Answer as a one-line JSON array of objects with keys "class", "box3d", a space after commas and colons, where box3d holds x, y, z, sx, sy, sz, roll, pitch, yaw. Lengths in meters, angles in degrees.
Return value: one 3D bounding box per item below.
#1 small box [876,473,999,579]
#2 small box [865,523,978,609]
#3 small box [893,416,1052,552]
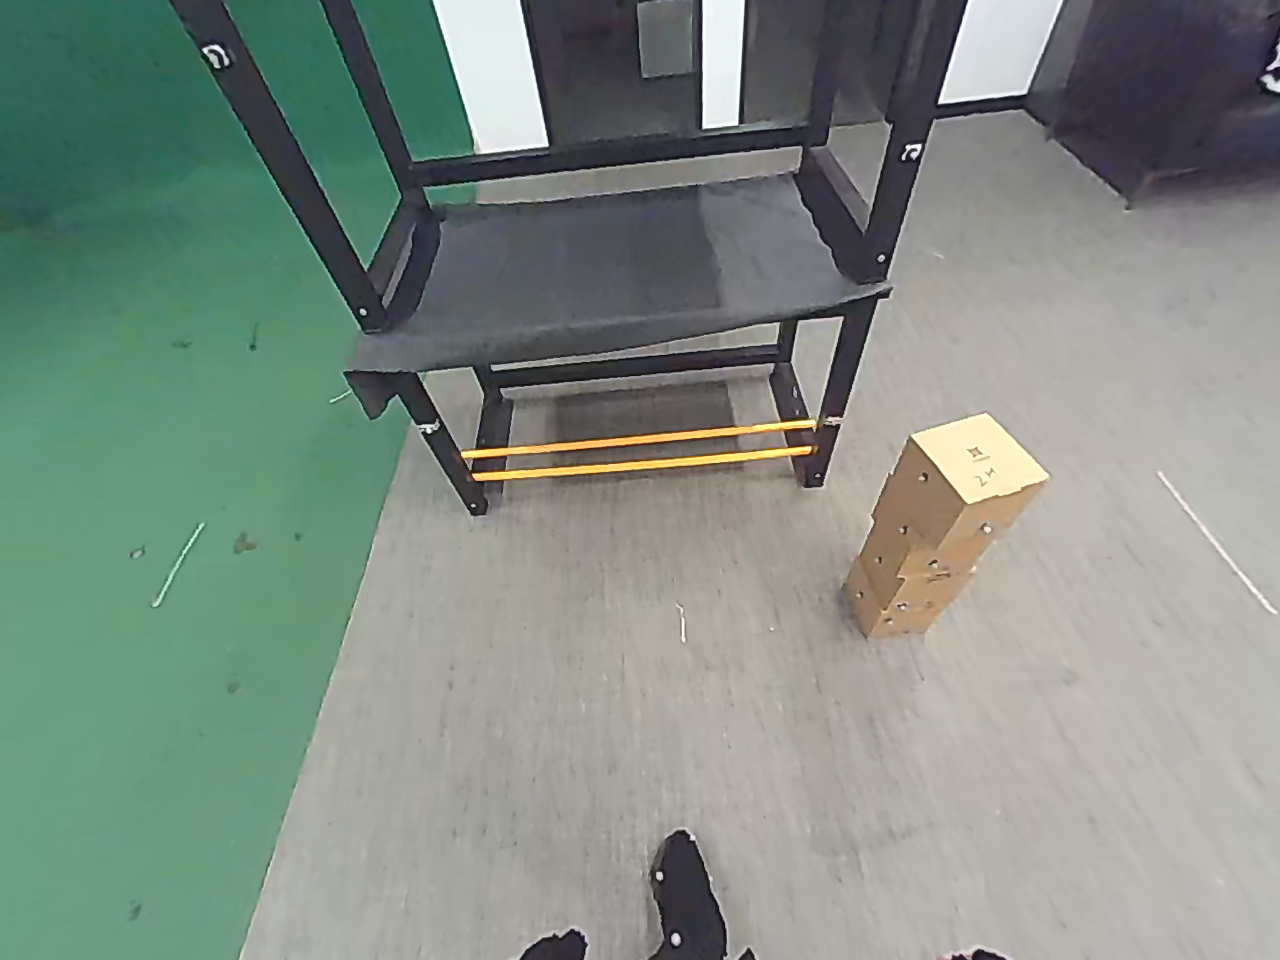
[{"class": "small box", "box3d": [0.638, 0.096, 1.183, 0.168, 0.176, 0.179, -6, 52, 3]}, {"class": "small box", "box3d": [0.667, 0.200, 1.306, 0.168, 0.176, 0.179, -7, 51, 1]}, {"class": "small box", "box3d": [0.623, 0.010, 1.044, 0.168, 0.176, 0.179, -16, 53, -5]}]
